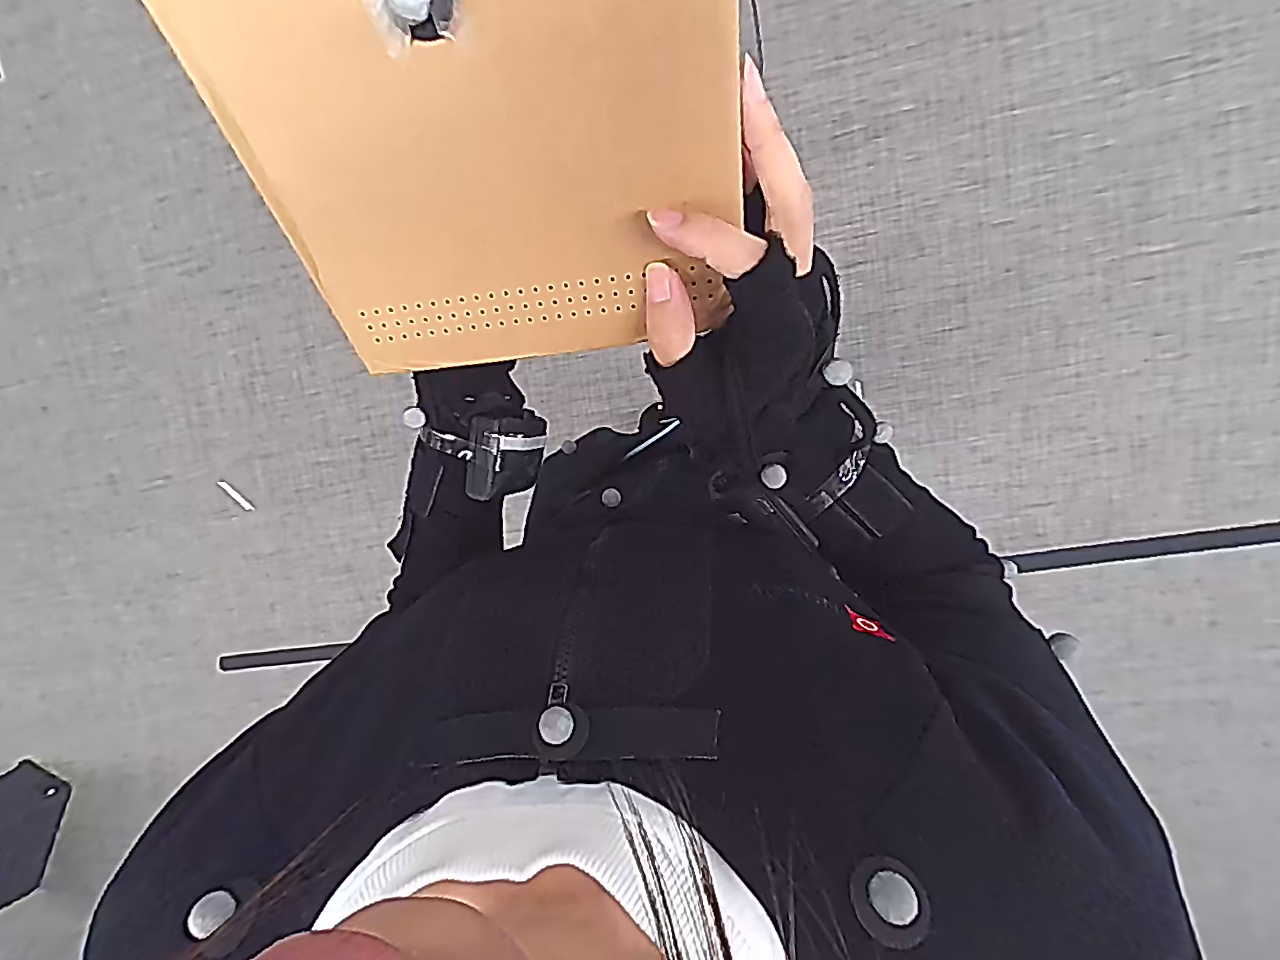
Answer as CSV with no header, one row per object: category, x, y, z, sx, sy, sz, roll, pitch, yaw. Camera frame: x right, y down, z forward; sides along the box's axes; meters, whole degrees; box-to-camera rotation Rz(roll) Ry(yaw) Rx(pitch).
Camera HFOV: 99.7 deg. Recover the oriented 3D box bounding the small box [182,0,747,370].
small box,-0.048,-0.165,0.246,0.179,0.168,0.176,-5,136,8
